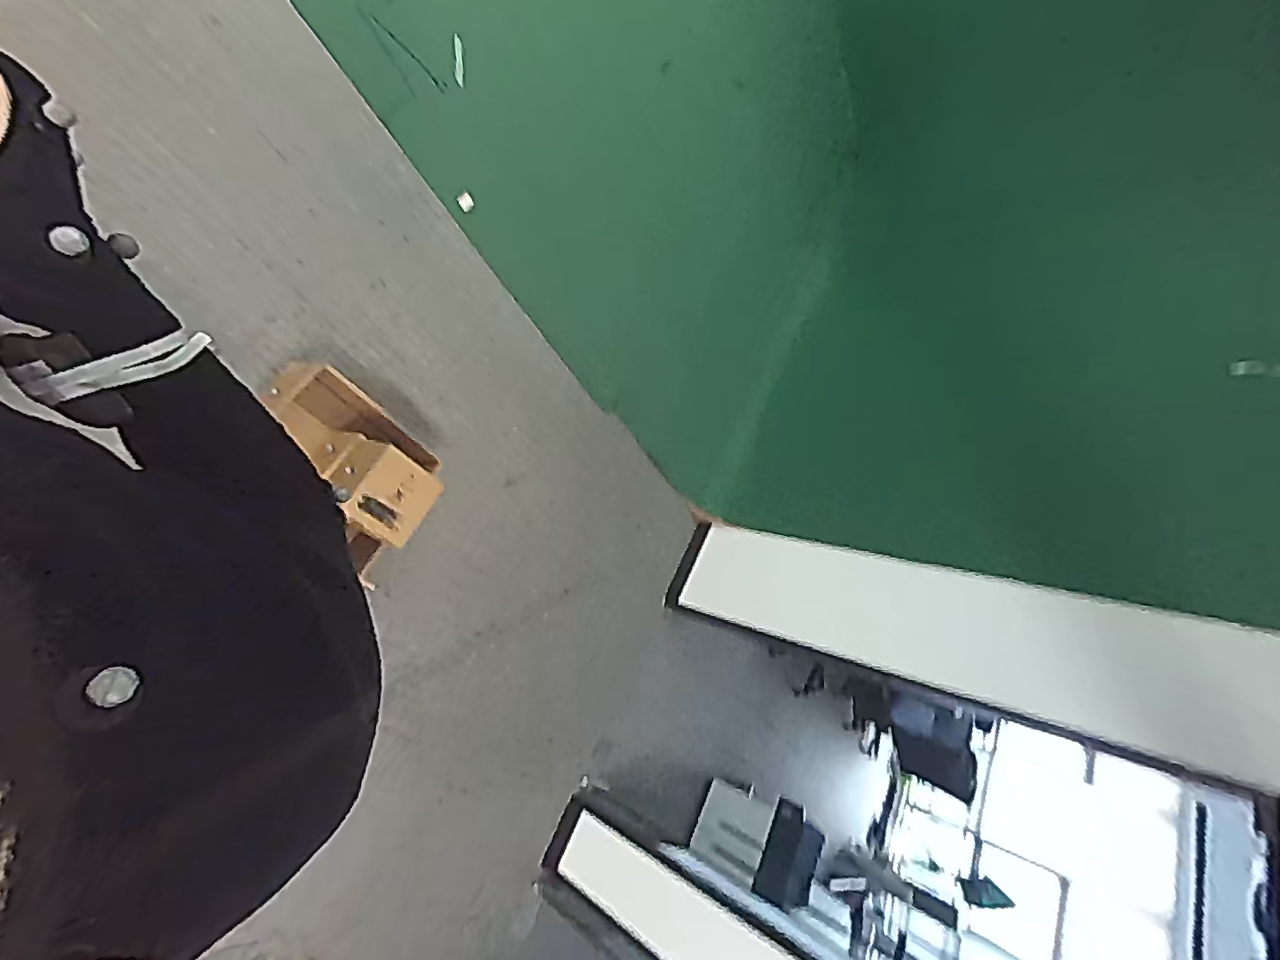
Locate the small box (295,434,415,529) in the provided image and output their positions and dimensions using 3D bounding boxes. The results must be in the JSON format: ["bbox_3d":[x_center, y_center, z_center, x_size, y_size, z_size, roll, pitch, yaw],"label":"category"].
[{"bbox_3d":[-0.716,-0.002,1.355,0.168,0.176,0.179,-58,135,-24],"label":"small box"}]
